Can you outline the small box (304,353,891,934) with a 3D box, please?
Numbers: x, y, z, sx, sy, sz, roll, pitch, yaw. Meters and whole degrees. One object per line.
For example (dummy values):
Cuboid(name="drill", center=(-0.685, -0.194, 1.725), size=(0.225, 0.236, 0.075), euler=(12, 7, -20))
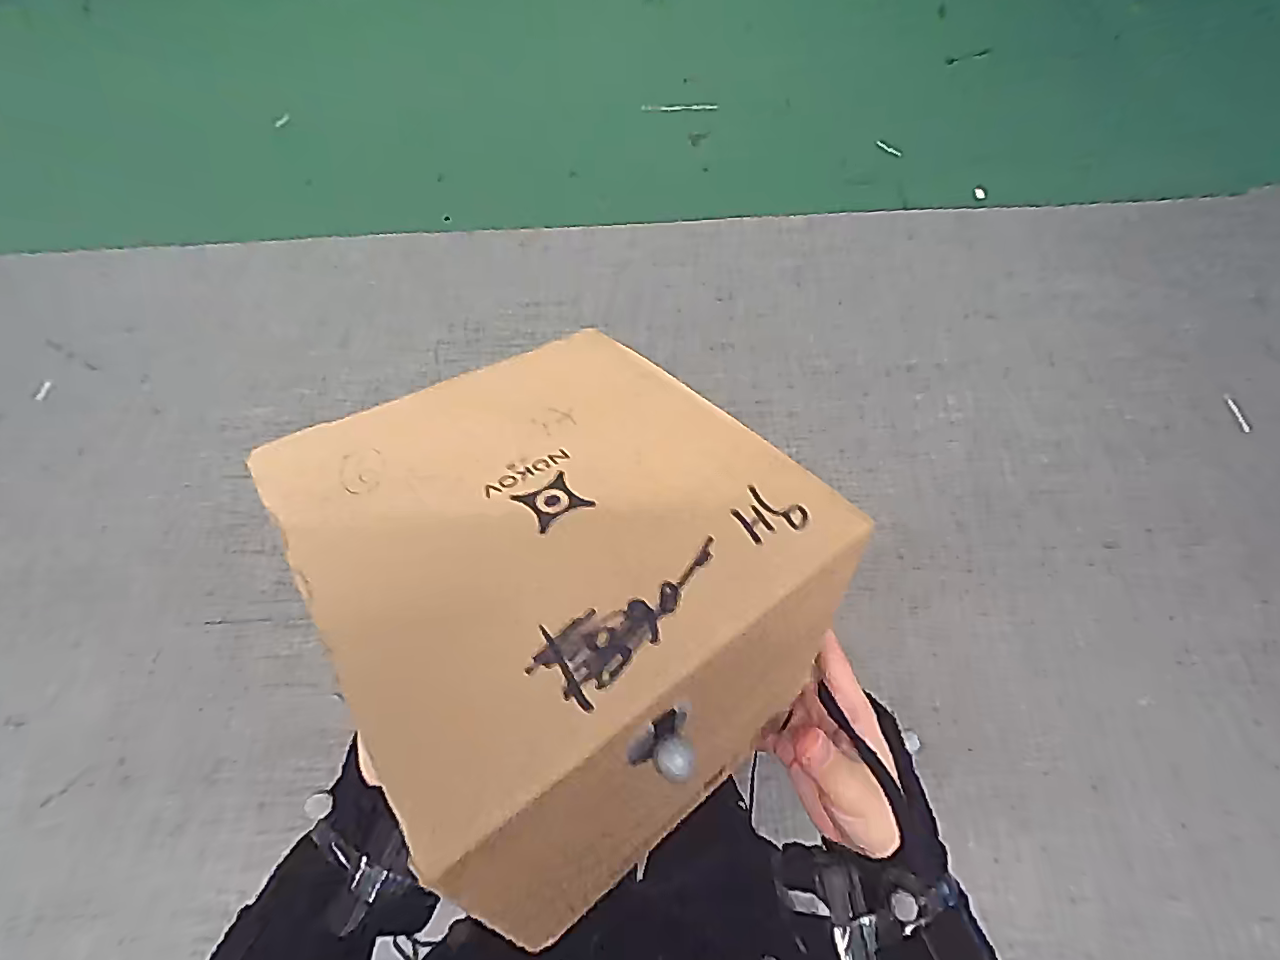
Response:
Cuboid(name="small box", center=(-0.024, 0.069, 0.264), size=(0.168, 0.176, 0.179), euler=(-29, 51, -26))
